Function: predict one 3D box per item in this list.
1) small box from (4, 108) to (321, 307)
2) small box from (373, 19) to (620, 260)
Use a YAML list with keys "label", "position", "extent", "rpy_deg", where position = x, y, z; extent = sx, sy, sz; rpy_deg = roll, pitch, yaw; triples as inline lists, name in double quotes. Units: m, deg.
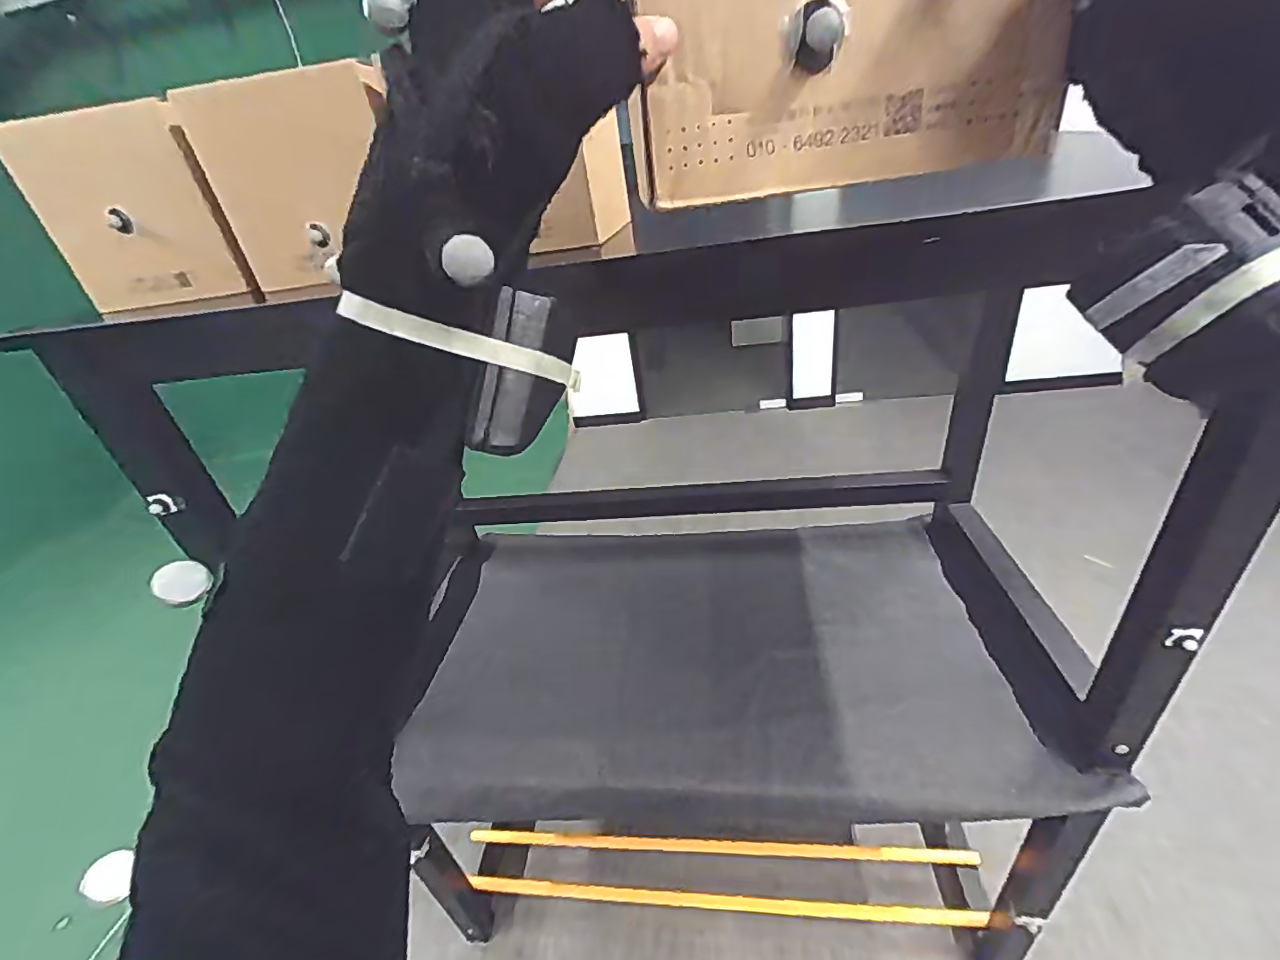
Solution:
- label: "small box"
  position: [-0.500, -0.298, 0.607]
  extent: [0.168, 0.176, 0.179]
  rpy_deg: [-6, 30, 3]
- label: "small box"
  position: [-0.123, -0.328, 0.550]
  extent: [0.168, 0.176, 0.179]
  rpy_deg: [-2, 30, 12]
